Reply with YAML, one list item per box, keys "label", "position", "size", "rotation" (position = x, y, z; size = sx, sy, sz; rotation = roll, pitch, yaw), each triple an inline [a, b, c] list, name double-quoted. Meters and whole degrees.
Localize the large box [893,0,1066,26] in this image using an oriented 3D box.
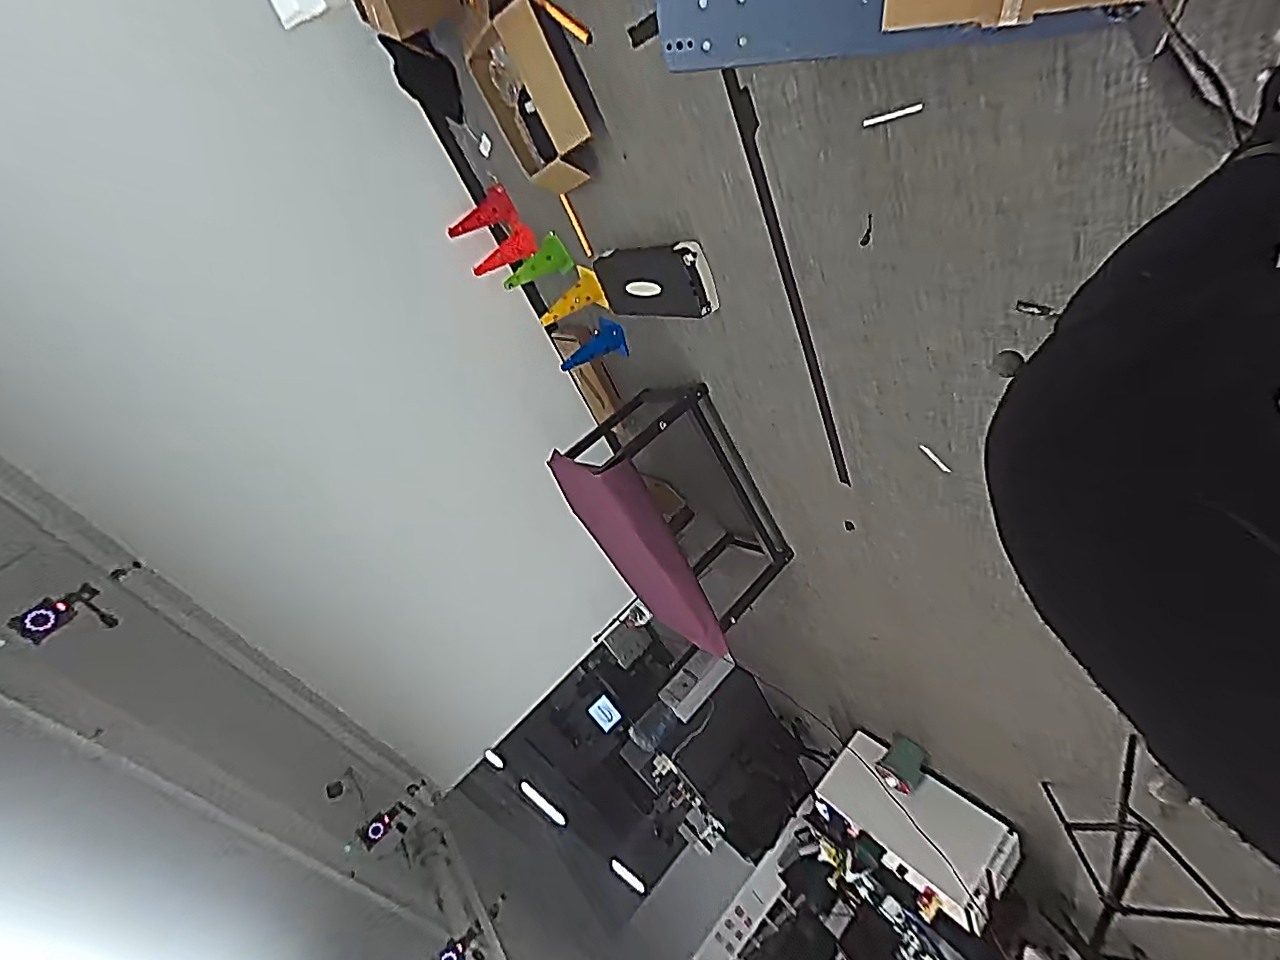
- label: "large box"
  position: [0.517, -0.852, 0.642]
  size: [0.320, 0.320, 0.408]
  rotation: [13, 143, 25]
